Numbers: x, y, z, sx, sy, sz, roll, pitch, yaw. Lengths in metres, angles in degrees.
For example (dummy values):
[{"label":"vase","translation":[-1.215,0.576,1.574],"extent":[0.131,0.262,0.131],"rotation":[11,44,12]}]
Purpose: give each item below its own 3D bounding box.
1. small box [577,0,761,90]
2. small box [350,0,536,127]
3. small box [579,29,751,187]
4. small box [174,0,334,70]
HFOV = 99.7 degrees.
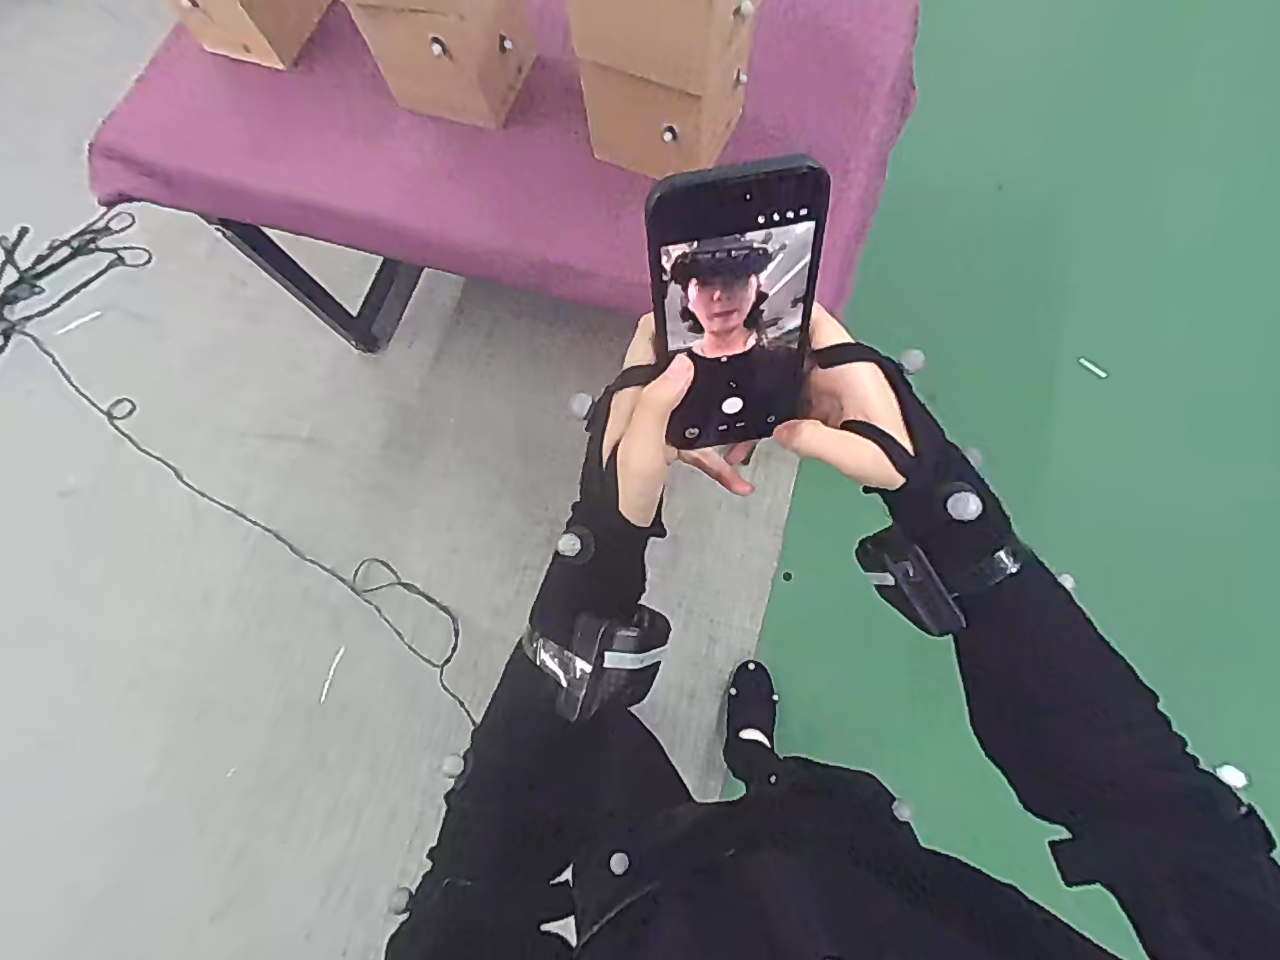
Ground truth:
[{"label":"small box","translation":[0.034,-0.572,0.586],"extent":[0.179,0.176,0.168],"rotation":[24,78,9]},{"label":"small box","translation":[-0.274,-0.665,0.799],"extent":[0.179,0.176,0.168],"rotation":[18,77,8]},{"label":"small box","translation":[0.041,-0.546,0.748],"extent":[0.179,0.176,0.168],"rotation":[24,78,10]},{"label":"small box","translation":[-0.633,-0.805,0.861],"extent":[0.168,0.176,0.179],"rotation":[19,77,8]}]
